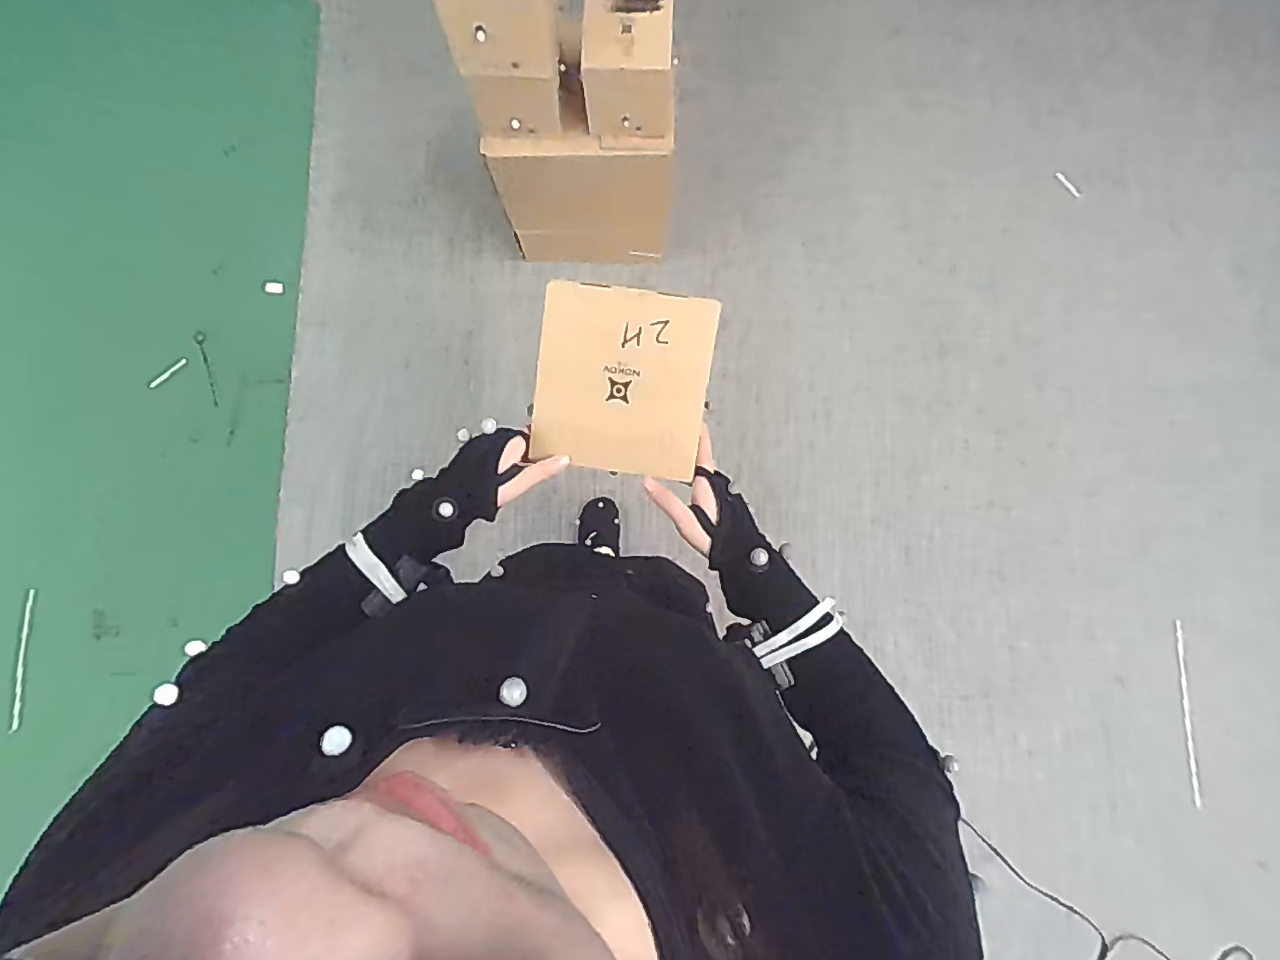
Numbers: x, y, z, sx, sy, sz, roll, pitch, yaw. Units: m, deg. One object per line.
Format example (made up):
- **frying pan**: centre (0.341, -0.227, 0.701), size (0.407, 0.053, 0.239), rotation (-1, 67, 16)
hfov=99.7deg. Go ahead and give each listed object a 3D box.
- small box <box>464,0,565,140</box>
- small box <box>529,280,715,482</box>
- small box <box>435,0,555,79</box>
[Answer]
- **small box**: centre (-0.240, -0.815, 1.067), size (0.168, 0.176, 0.179), rotation (1, 87, -2)
- **small box**: centre (-0.013, -0.107, 0.609), size (0.168, 0.176, 0.179), rotation (10, 99, 4)
- **small box**: centre (-0.235, -0.815, 0.904), size (0.168, 0.176, 0.179), rotation (1, 86, -2)
